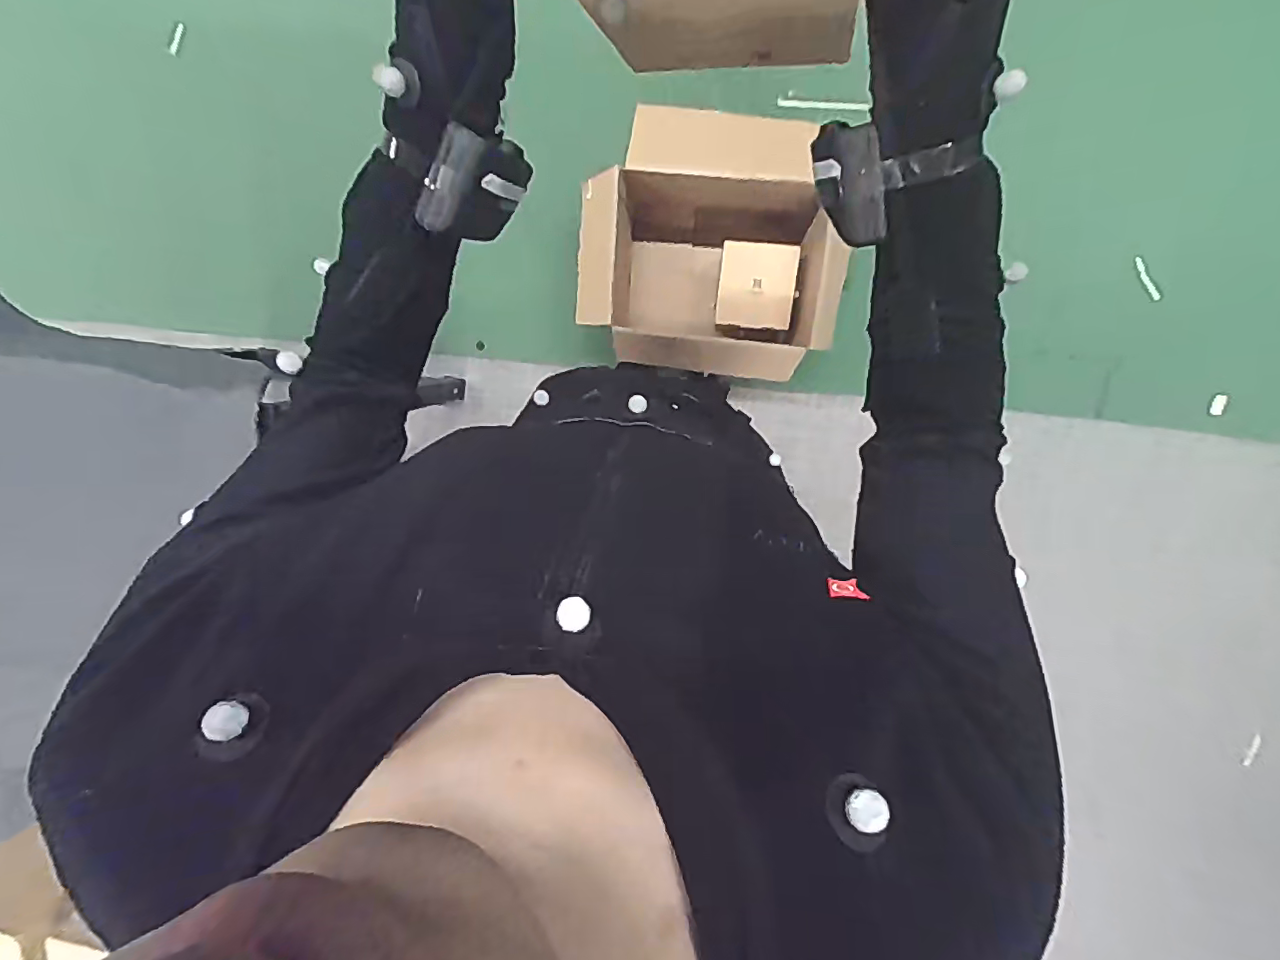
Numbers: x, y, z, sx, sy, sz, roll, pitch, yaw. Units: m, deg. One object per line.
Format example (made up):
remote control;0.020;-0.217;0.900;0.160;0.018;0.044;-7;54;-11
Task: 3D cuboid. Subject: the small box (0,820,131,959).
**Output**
small box;-1.012;0.710;0.905;0.179;0.176;0.168;9;105;2

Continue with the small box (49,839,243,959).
small box;-0.798;0.740;0.896;0.179;0.176;0.168;10;104;3
